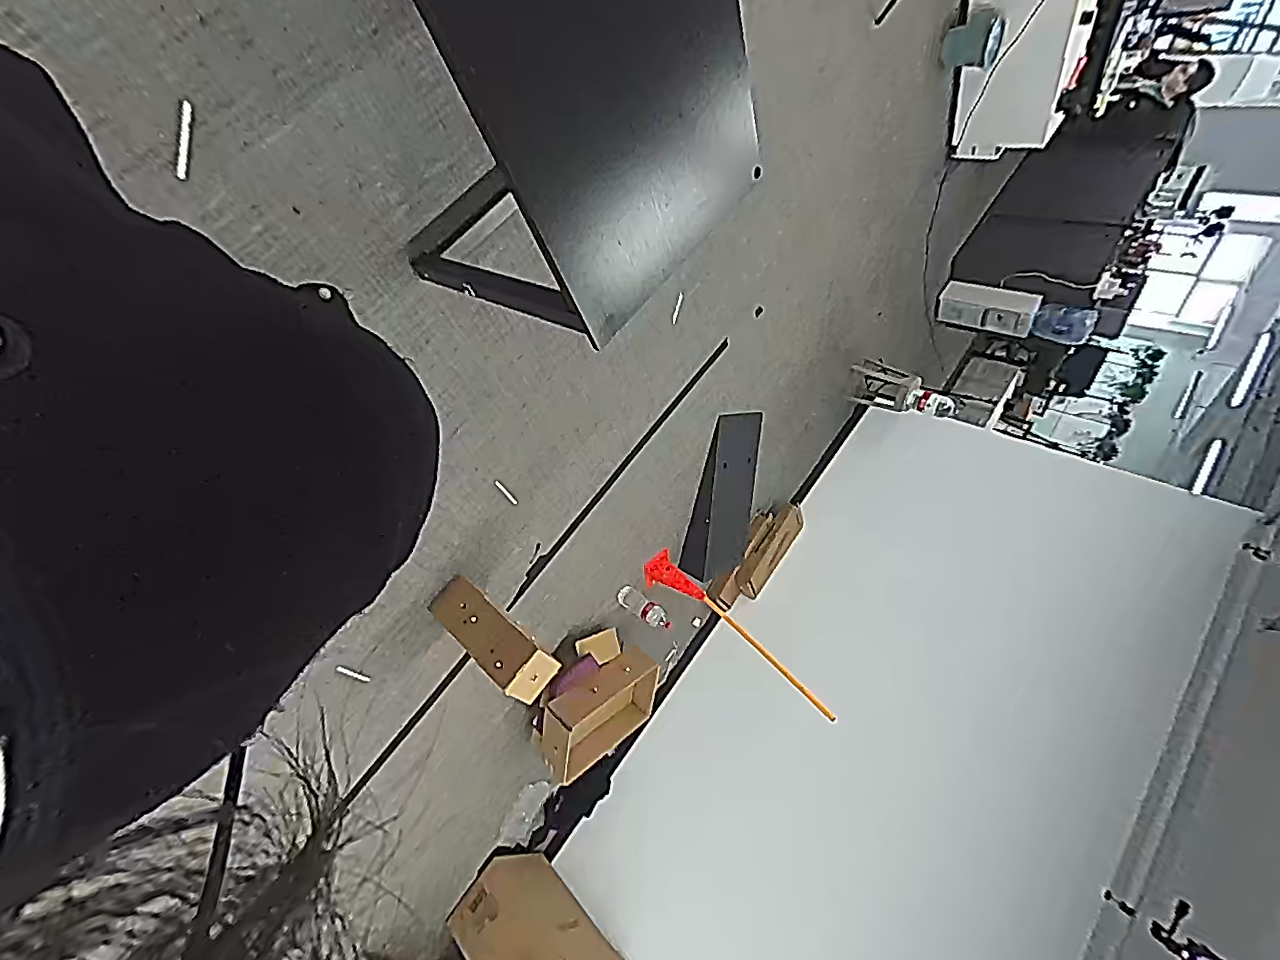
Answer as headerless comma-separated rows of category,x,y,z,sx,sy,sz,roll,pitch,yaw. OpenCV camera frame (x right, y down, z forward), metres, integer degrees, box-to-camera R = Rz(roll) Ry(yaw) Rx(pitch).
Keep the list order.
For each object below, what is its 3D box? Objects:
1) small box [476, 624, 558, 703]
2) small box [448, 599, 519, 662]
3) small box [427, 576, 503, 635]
small box,-0.416,0.612,1.817,0.168,0.176,0.179,-50,144,-16
small box,-0.534,0.548,1.908,0.168,0.176,0.179,-51,143,-17
small box,-0.651,0.487,2.007,0.179,0.176,0.168,-50,143,-17
